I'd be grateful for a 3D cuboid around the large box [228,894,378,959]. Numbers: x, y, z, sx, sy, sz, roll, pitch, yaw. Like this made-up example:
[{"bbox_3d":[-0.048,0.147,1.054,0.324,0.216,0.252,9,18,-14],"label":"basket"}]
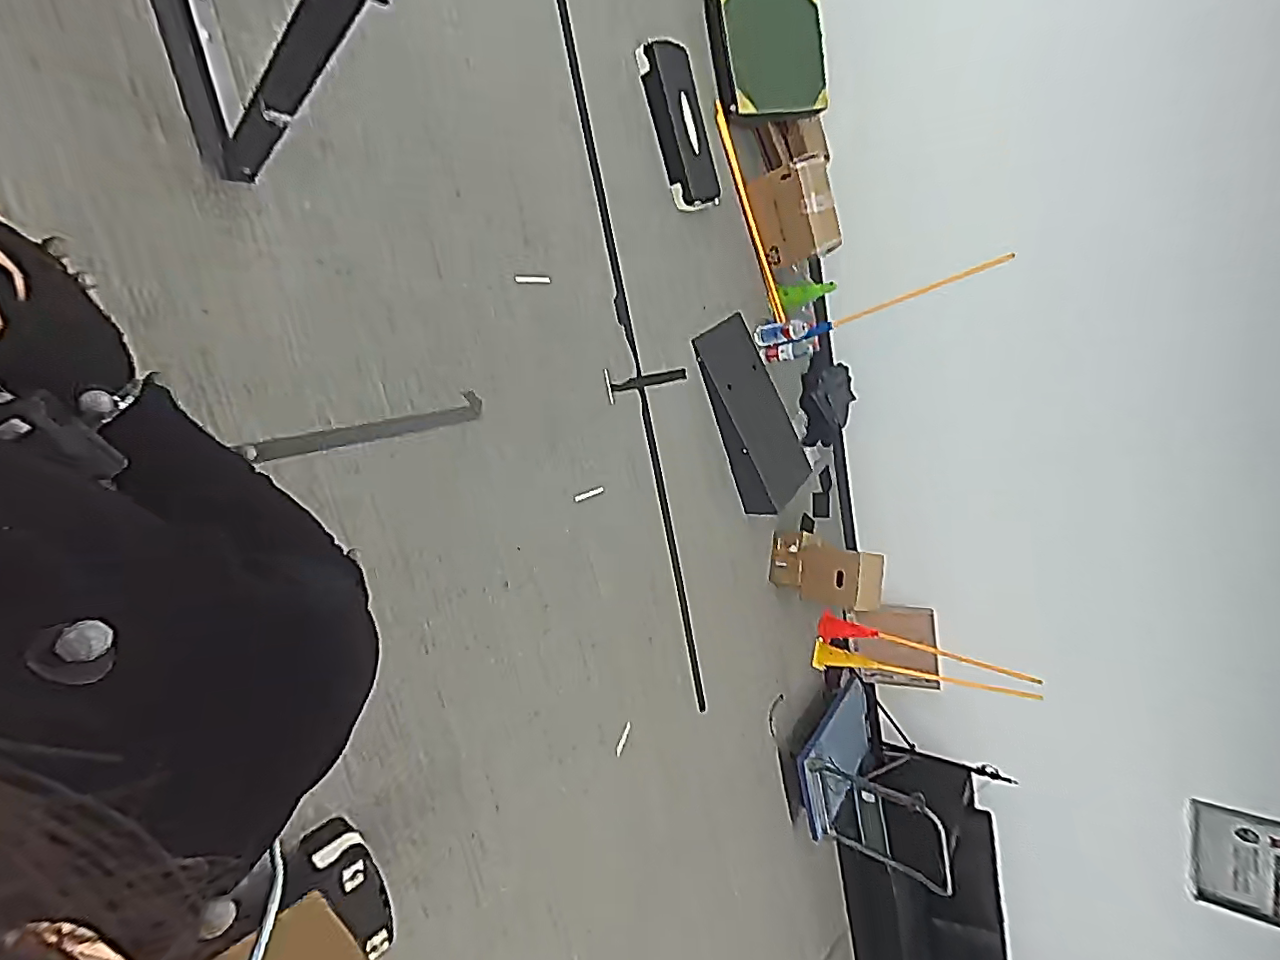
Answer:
[{"bbox_3d":[-0.690,1.089,0.970,0.408,0.320,0.320,-18,102,-48],"label":"large box"}]
